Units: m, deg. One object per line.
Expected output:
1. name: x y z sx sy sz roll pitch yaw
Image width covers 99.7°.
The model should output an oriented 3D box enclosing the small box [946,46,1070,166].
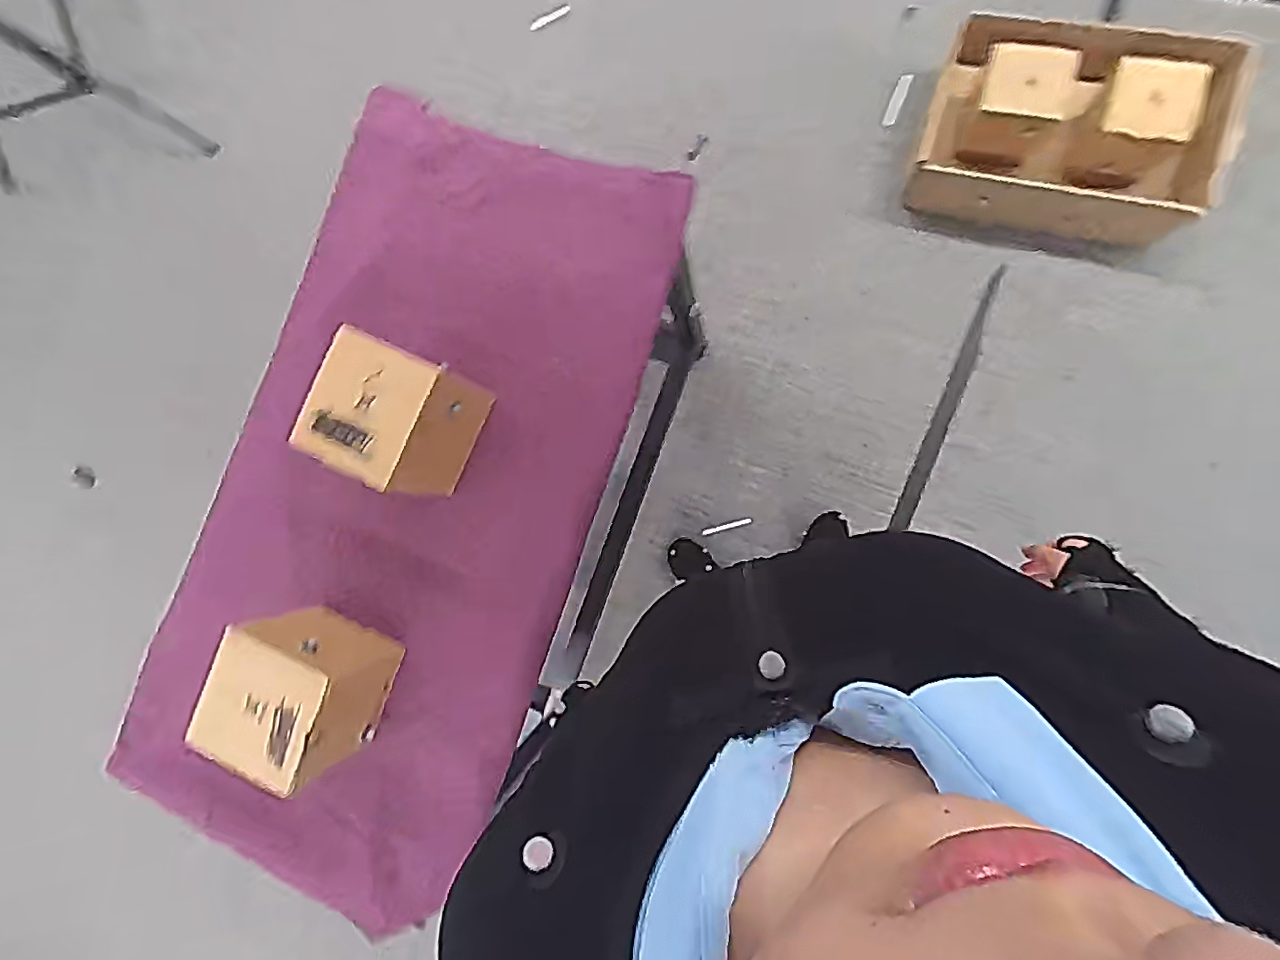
1. small box: 0.887 -0.902 1.319 0.179 0.176 0.168 14 88 9

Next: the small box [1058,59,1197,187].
1. small box: 1.134 -0.833 1.273 0.168 0.176 0.179 16 89 11

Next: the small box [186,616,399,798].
1. small box: -0.493 0.314 0.793 0.179 0.176 0.168 20 89 11
